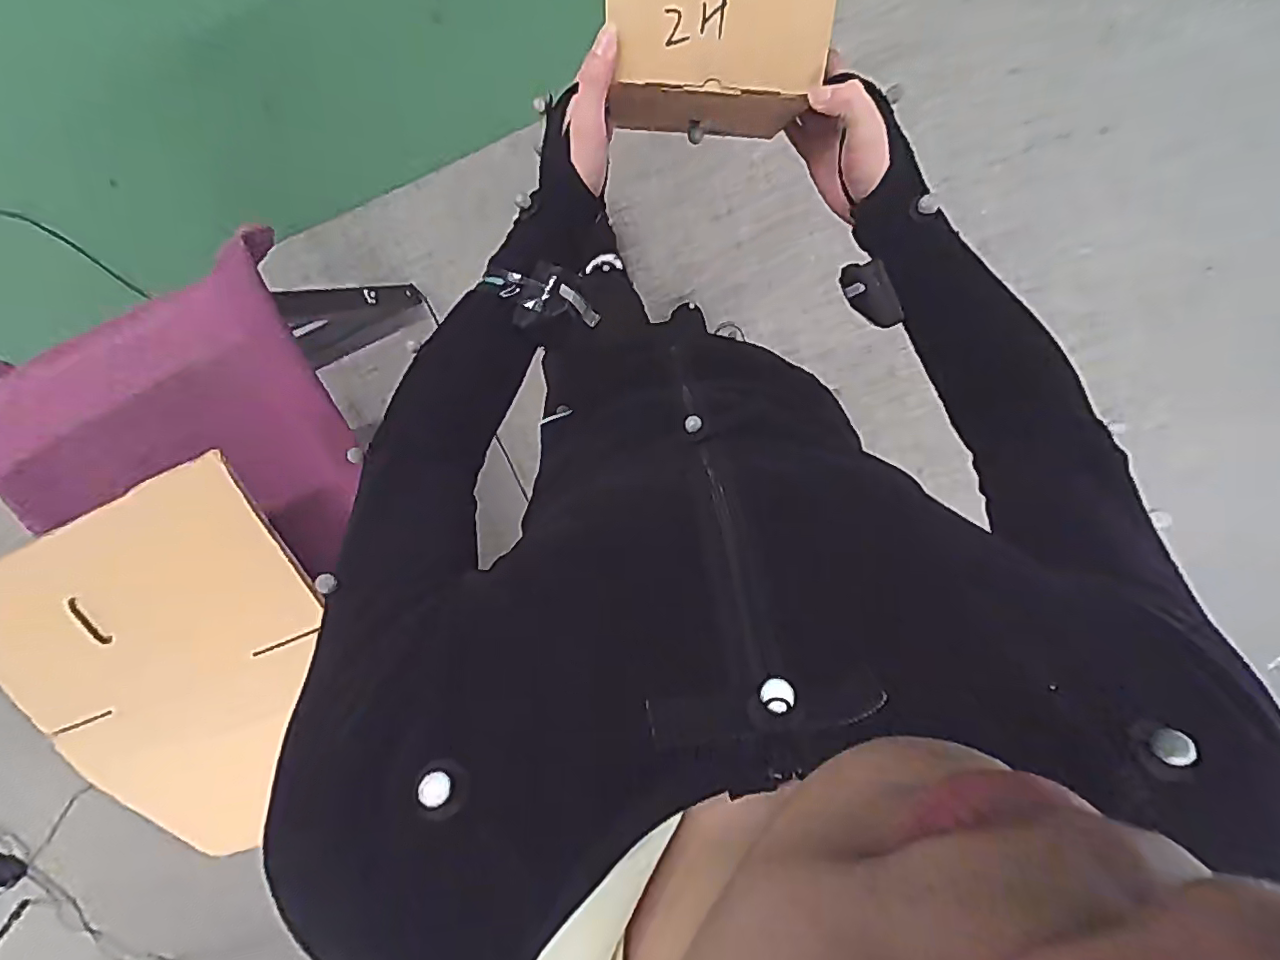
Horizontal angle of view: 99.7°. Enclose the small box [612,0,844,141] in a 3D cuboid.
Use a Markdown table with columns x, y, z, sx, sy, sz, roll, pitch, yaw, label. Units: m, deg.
| x | y | z | sx | sy | sz | roll | pitch | yaw | label |
| --- | --- | --- | --- | --- | --- | --- | --- | --- | --- |
| 0.065 | -0.401 | 0.444 | 0.168 | 0.176 | 0.179 | 4 | 114 | -1 | small box |
